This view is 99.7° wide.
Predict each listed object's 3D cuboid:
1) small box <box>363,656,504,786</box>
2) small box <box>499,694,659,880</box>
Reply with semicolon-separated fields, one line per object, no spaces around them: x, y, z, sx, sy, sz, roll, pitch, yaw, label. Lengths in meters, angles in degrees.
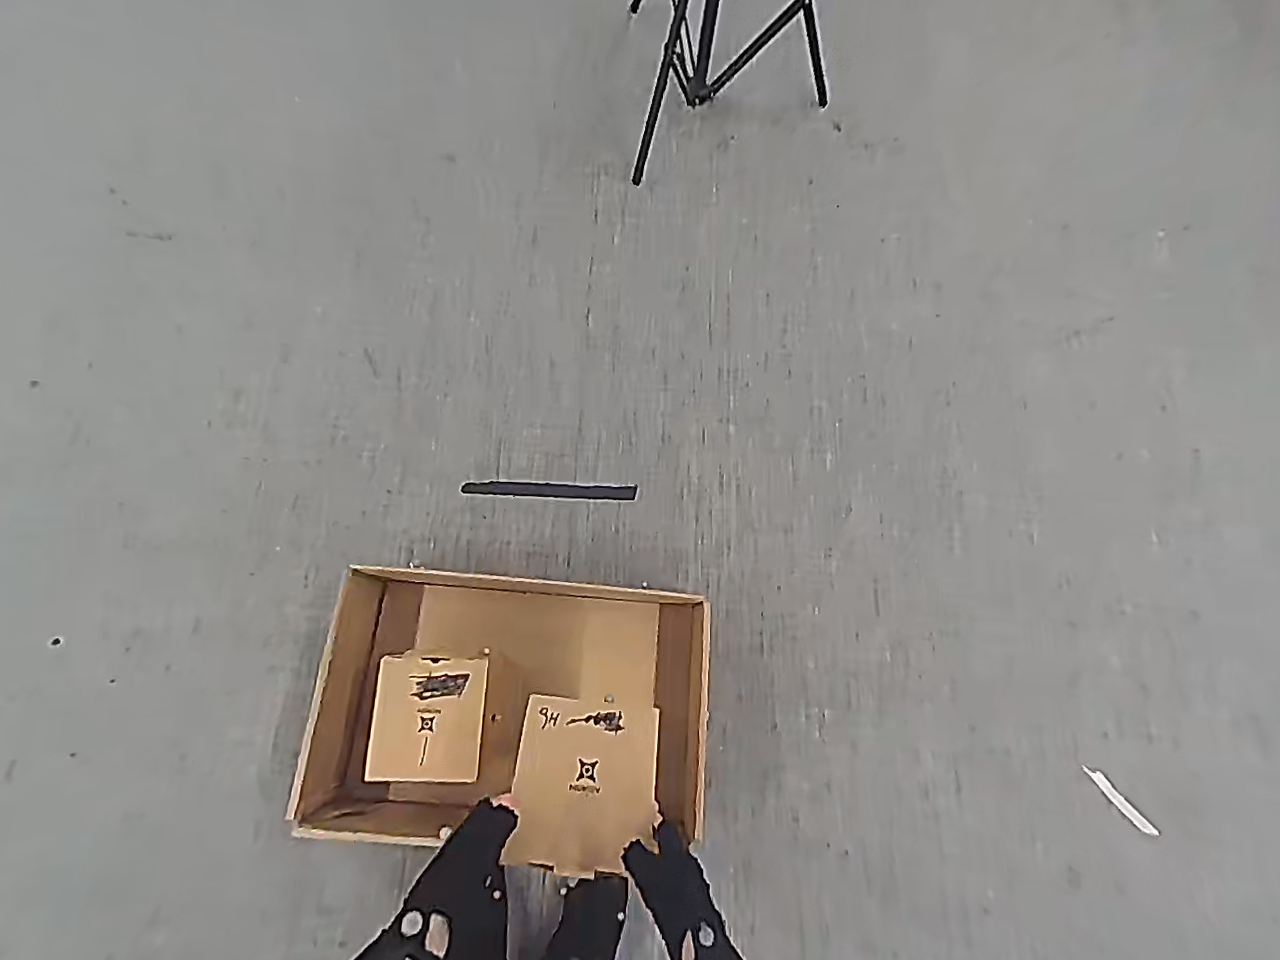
-0.322;0.383;0.884;0.168;0.176;0.179;3;73;-3;small box
-0.071;0.390;0.692;0.168;0.176;0.179;7;57;-2;small box
